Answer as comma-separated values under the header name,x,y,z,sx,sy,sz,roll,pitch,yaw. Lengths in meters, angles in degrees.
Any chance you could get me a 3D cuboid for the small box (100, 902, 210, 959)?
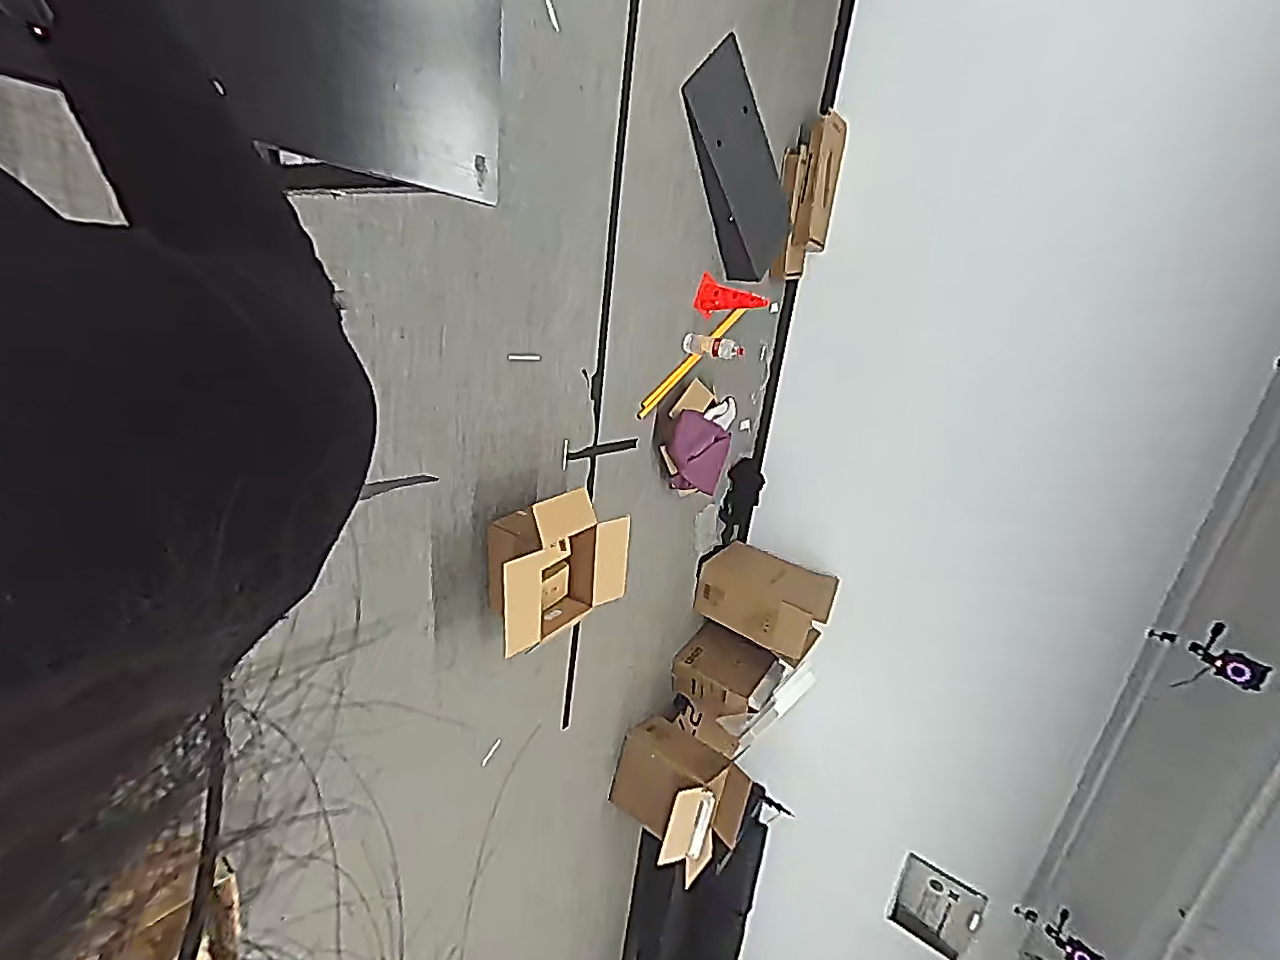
name,x,y,z,sx,sy,sz,roll,pitch,yaw
small box,-1.246,1.259,1.396,0.179,0.176,0.168,-13,115,-52
